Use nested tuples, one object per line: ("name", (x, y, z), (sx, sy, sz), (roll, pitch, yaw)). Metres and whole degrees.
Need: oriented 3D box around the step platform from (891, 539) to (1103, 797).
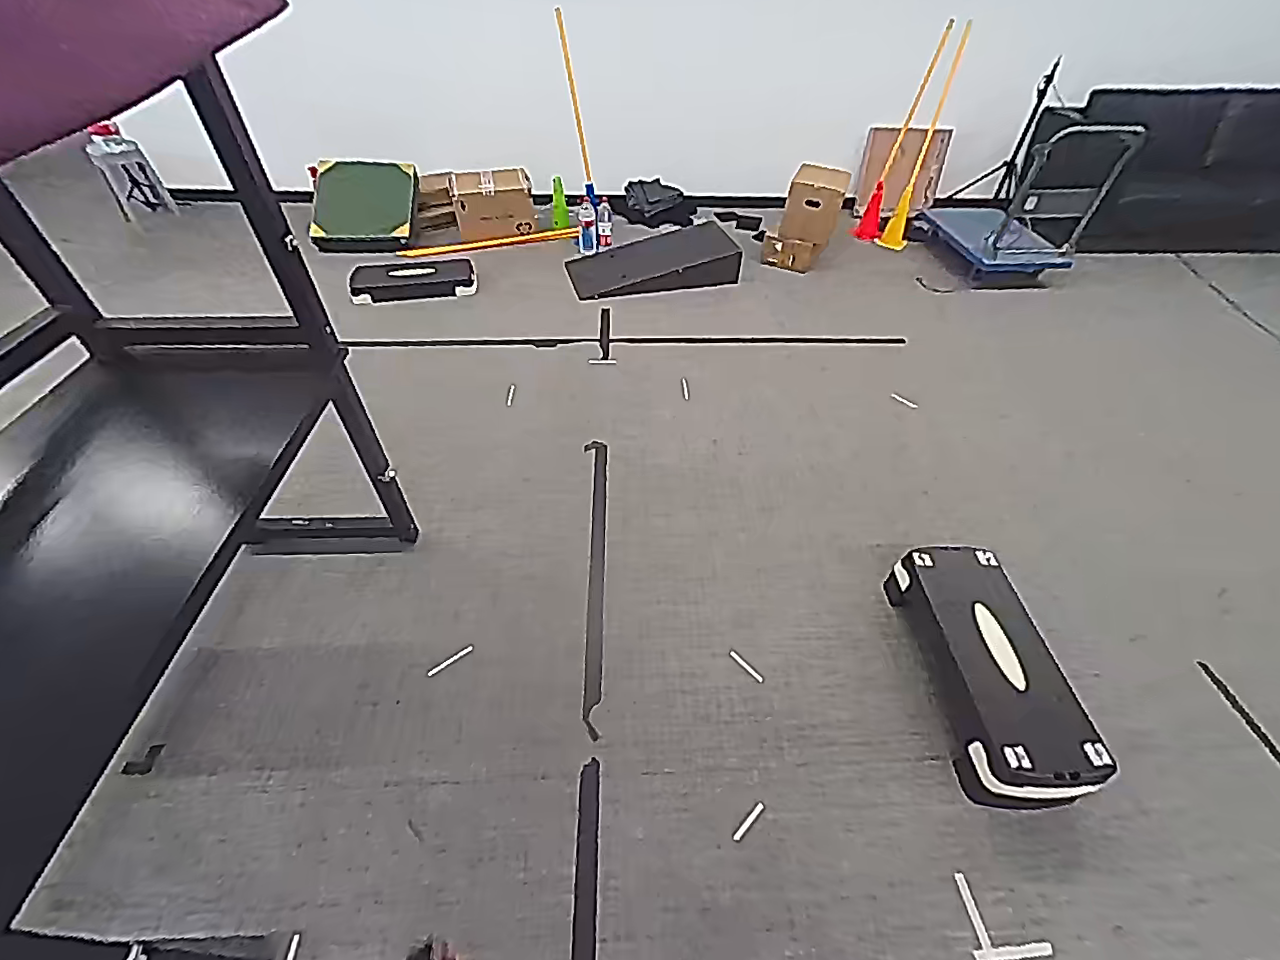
("step platform", (0.954, 0.481, 1.518), (0.286, 0.204, 0.684), (3, 45, 2))
